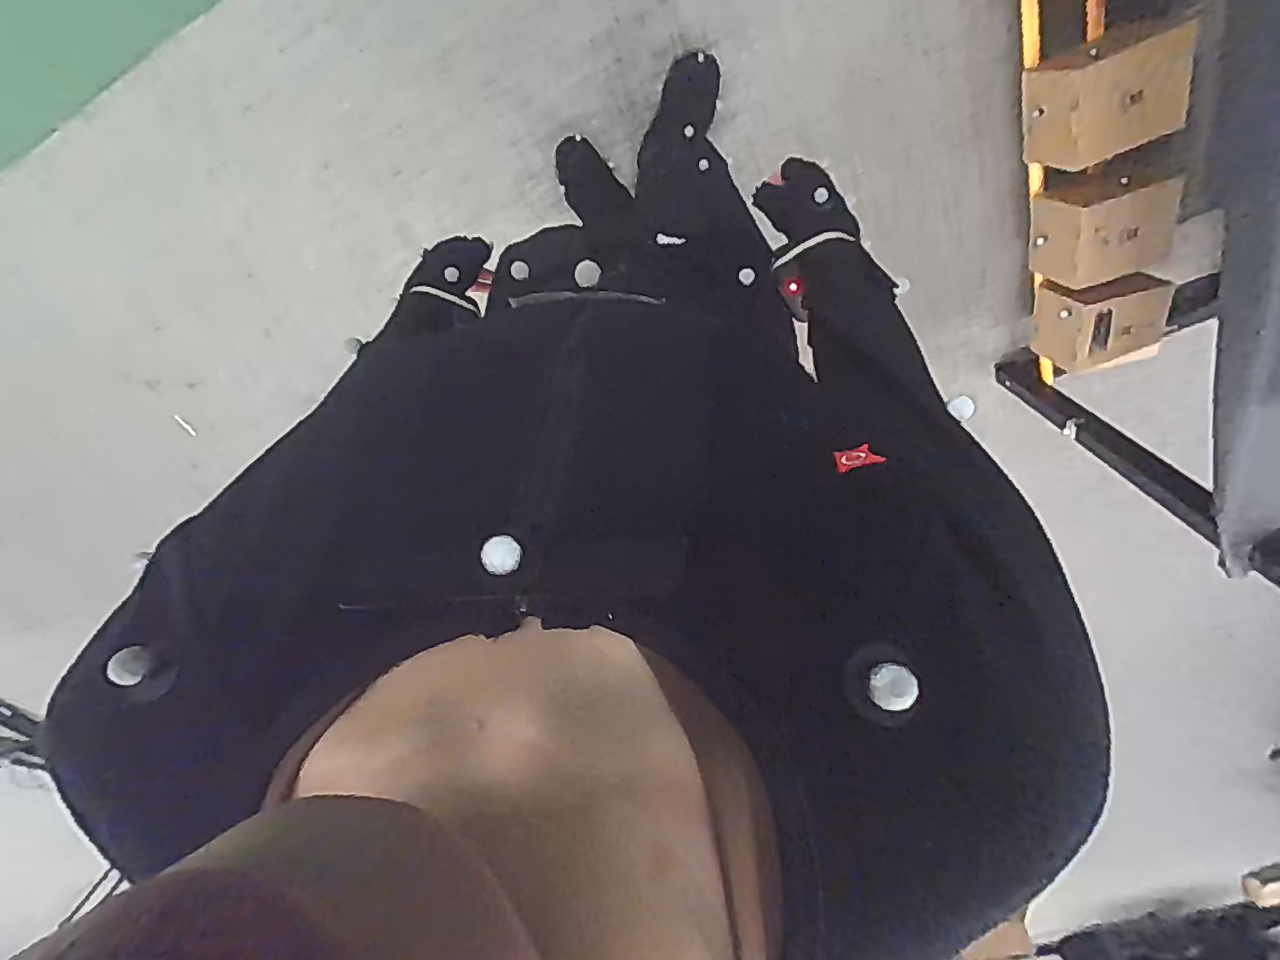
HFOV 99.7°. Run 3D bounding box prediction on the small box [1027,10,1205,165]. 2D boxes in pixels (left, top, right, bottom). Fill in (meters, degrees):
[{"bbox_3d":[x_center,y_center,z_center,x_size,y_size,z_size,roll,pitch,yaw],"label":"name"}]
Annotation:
[{"bbox_3d":[0.845,-0.707,0.980,0.179,0.176,0.168,-19,124,15],"label":"small box"}]
